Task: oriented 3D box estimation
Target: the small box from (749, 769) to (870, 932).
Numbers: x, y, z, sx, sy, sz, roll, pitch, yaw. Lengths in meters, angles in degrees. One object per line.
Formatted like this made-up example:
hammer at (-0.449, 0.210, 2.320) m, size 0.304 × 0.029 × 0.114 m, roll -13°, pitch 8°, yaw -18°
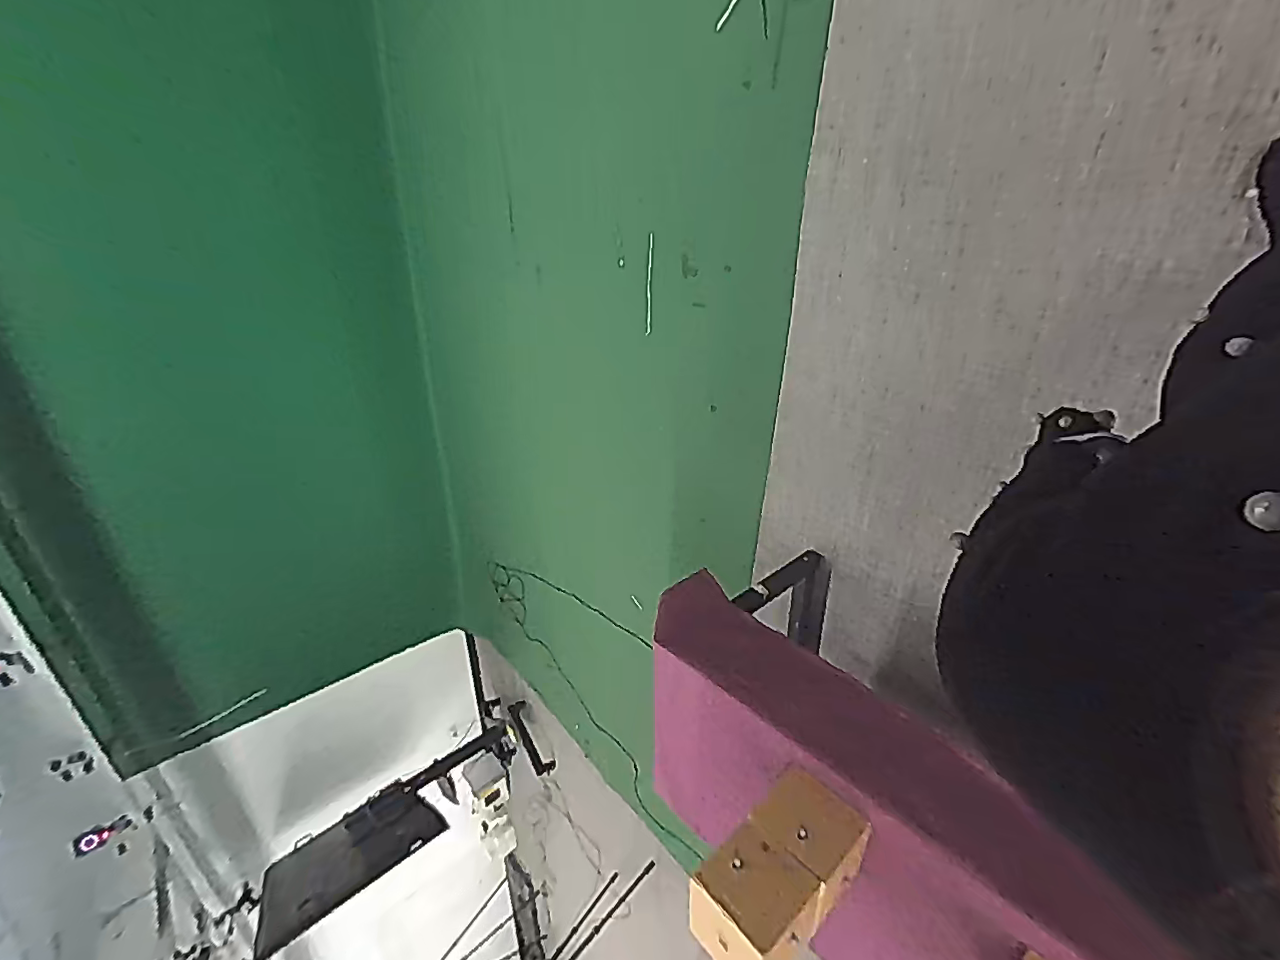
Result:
small box at (0.334, 0.731, 1.088) m, size 0.179 × 0.176 × 0.168 m, roll 26°, pitch 125°, yaw 42°

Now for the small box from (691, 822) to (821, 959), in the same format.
small box at (0.212, 0.784, 0.992) m, size 0.168 × 0.176 × 0.179 m, roll 24°, pitch 125°, yaw 44°
